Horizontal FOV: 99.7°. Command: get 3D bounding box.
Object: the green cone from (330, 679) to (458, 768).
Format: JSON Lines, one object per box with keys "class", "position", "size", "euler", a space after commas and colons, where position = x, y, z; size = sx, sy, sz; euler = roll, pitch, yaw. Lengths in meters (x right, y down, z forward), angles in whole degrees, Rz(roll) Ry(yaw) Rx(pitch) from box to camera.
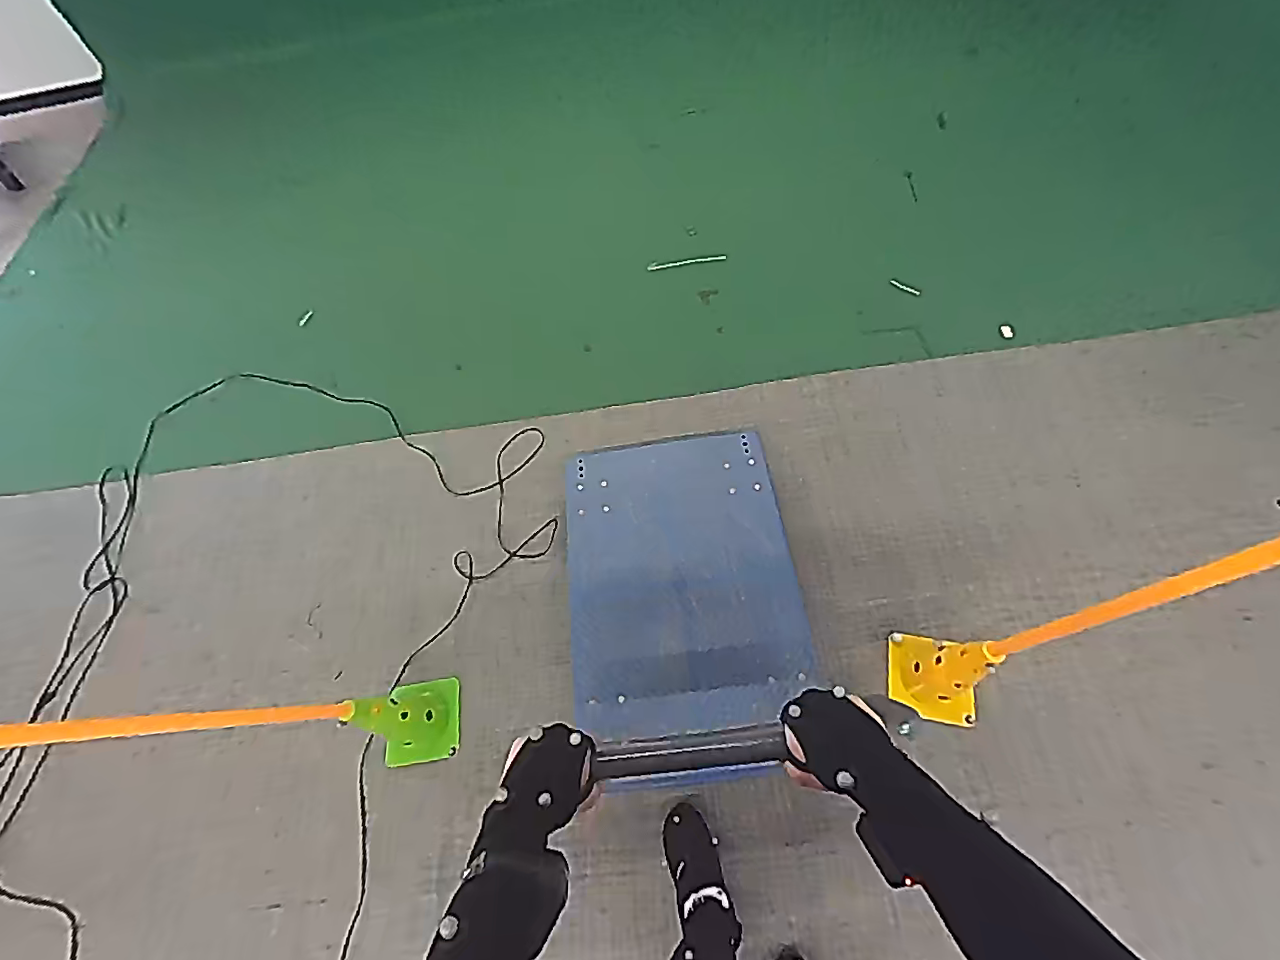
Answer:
{"class": "green cone", "position": [-0.612, 0.574, 1.309], "size": [0.202, 0.368, 0.200], "euler": [-12, 61, 3]}
